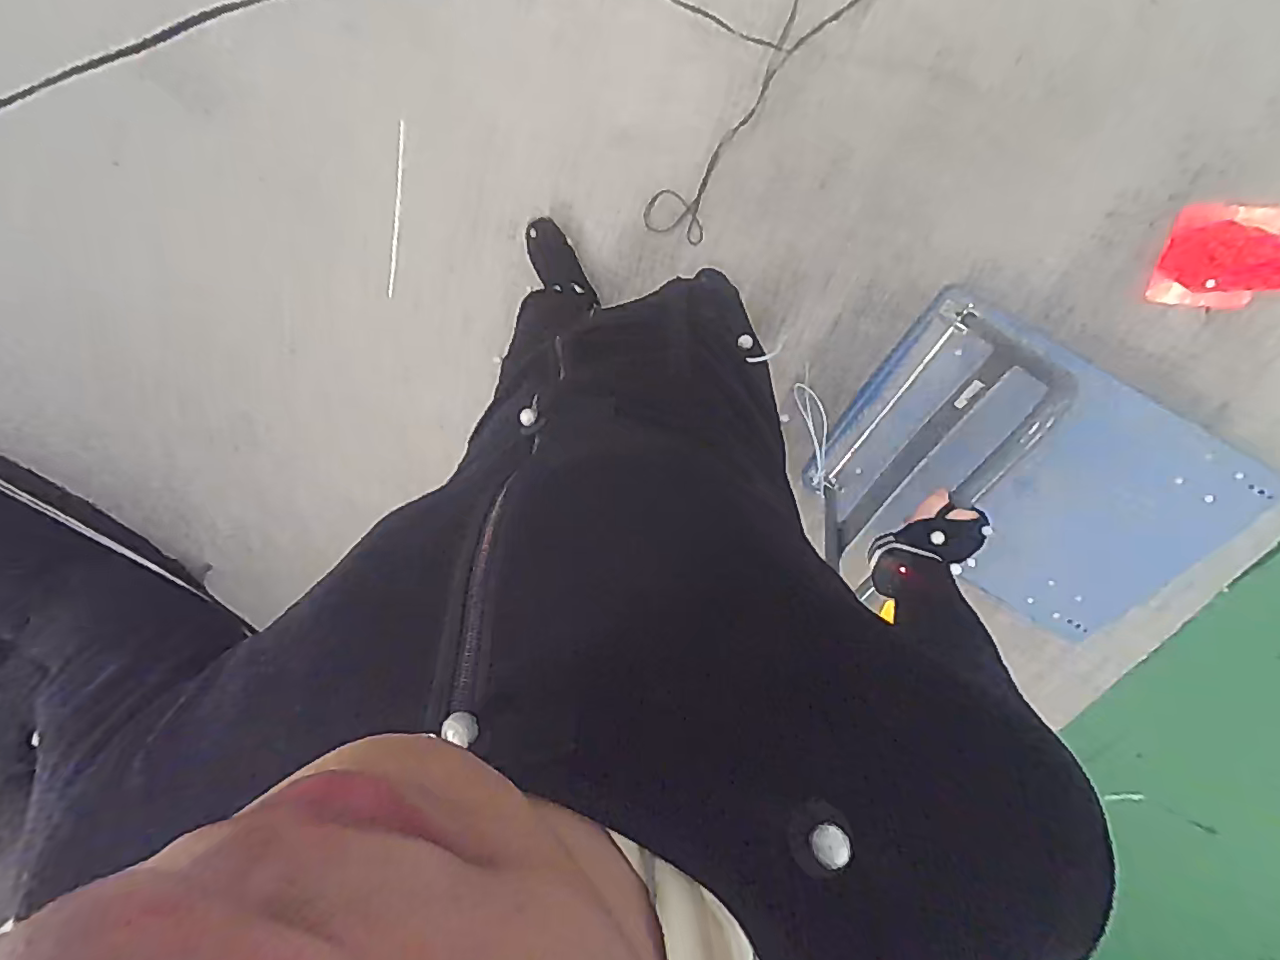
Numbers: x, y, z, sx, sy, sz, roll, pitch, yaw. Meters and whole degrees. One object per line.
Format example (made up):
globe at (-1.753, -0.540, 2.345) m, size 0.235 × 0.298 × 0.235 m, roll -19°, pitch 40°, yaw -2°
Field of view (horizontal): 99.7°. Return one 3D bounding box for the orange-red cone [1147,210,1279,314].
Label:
orange-red cone at (1.203, -0.395, 1.015) m, size 0.198 × 0.360 × 0.199 m, roll 10°, pitch 117°, yaw 9°
